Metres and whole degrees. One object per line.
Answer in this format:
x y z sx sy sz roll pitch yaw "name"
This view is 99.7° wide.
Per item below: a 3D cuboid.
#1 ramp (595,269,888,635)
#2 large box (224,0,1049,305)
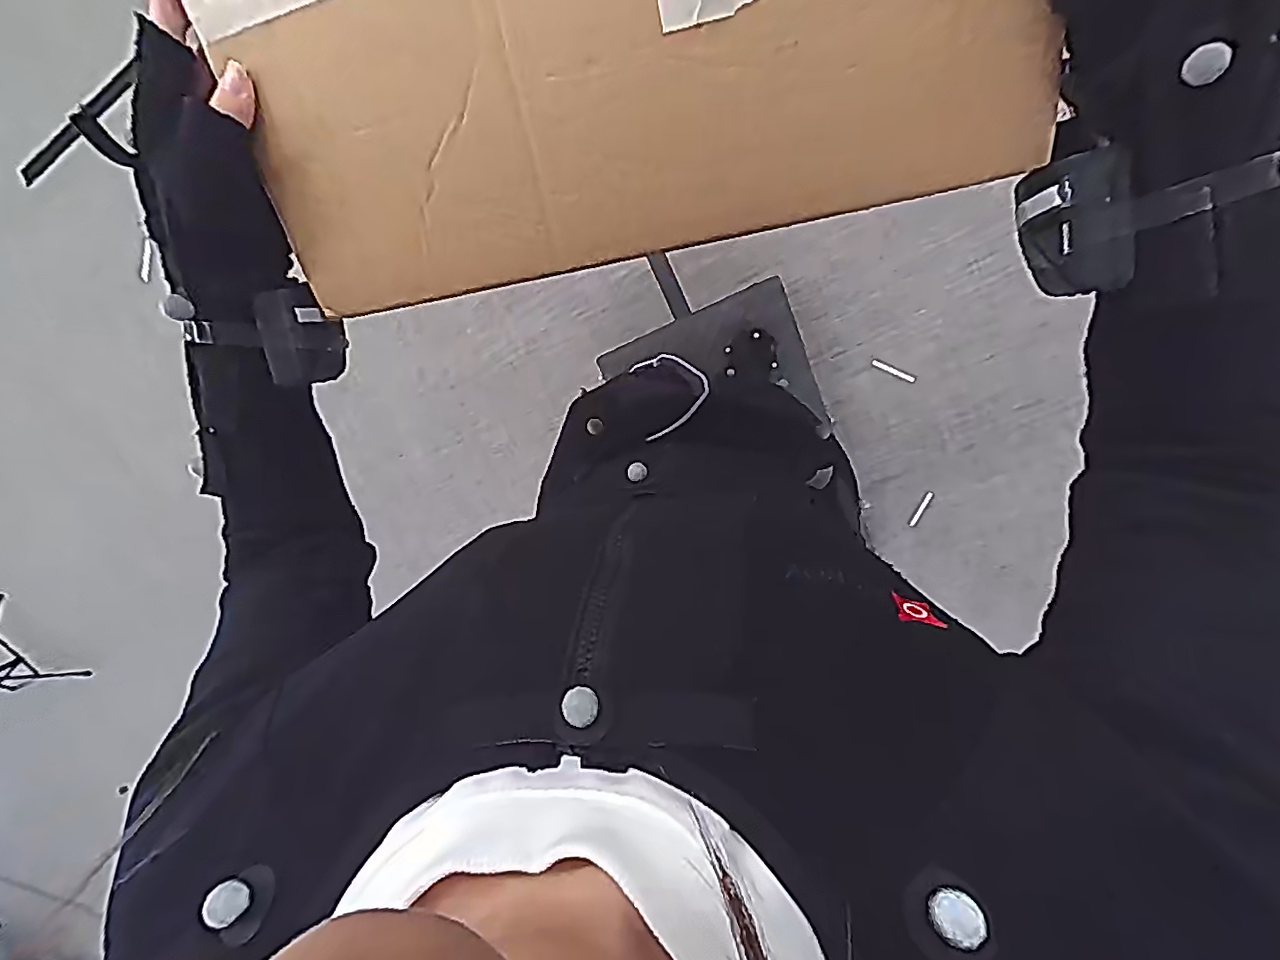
0.313 -0.001 1.496 0.509 0.206 0.991 -23 101 15 "ramp"
-0.008 -0.338 0.376 0.408 0.320 0.320 -6 116 14 "large box"
